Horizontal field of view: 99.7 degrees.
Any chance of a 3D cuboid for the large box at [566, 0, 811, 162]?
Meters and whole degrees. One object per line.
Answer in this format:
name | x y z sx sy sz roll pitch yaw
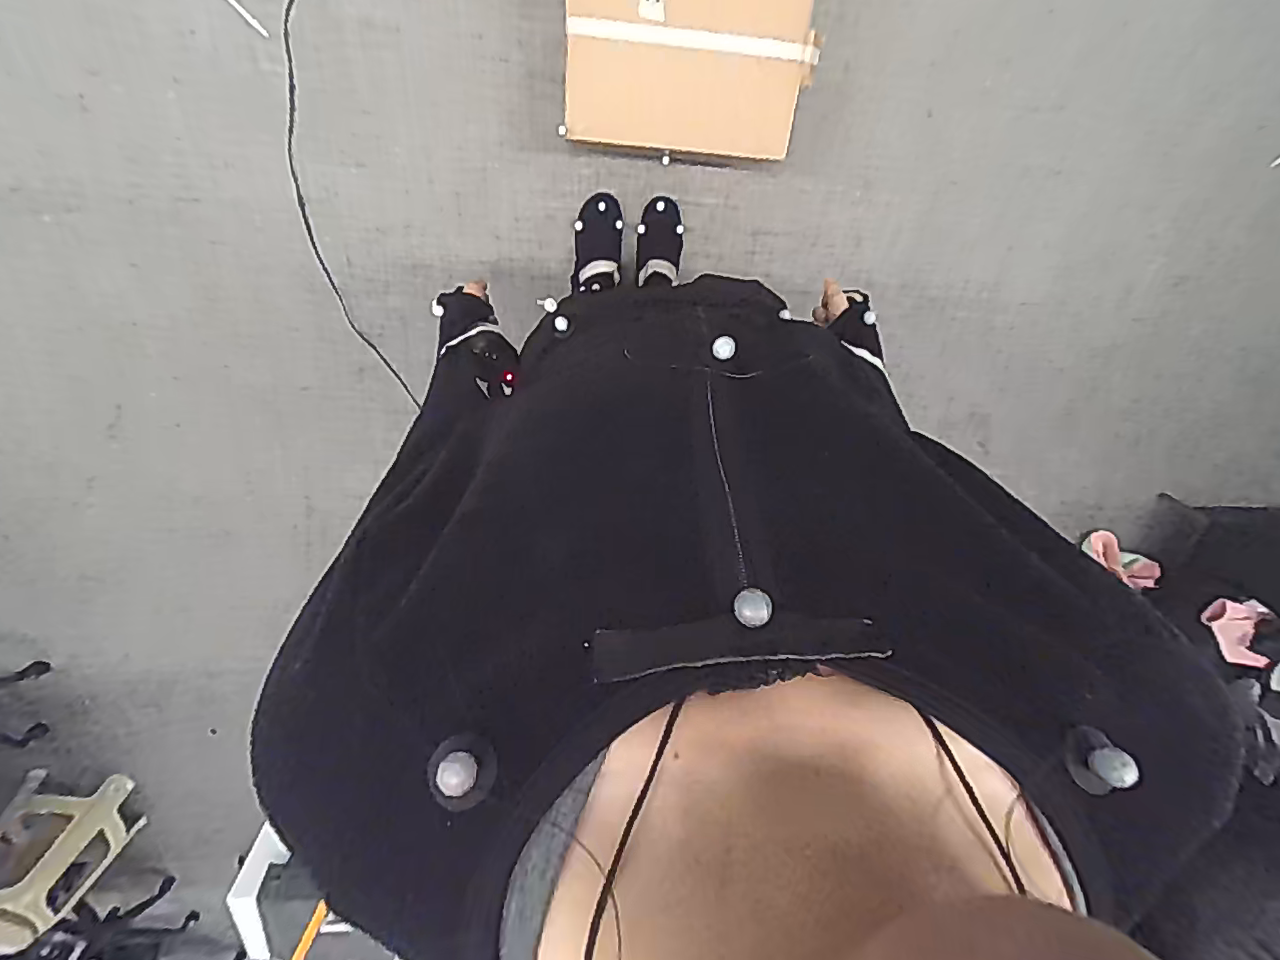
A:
large box | 0.071 -0.804 1.035 0.408 0.320 0.320 3 119 -6
